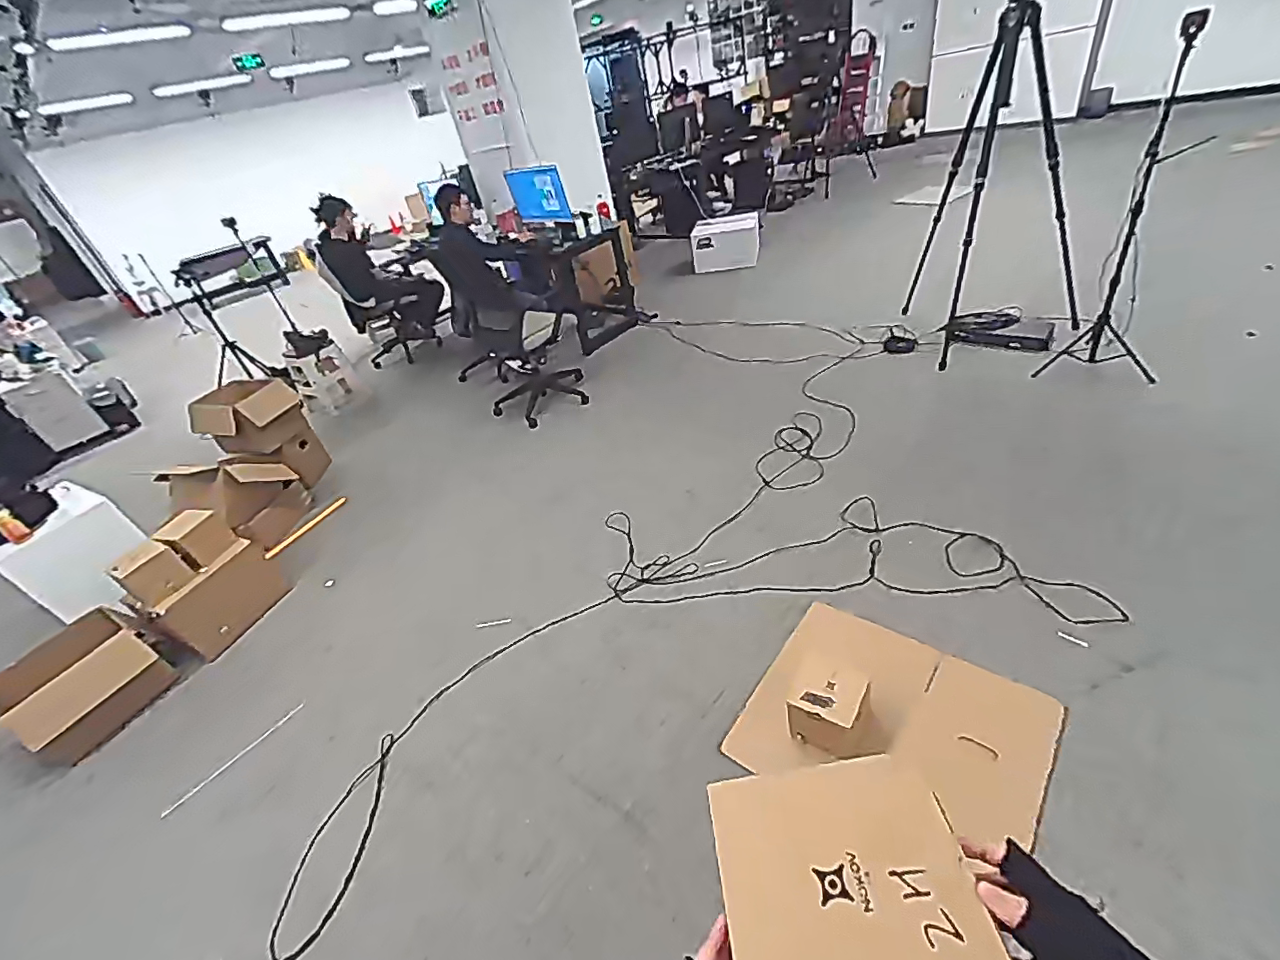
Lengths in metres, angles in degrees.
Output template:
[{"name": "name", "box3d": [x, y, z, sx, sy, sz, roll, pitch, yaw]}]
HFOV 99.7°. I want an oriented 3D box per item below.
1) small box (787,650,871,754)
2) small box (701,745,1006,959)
[{"name": "small box", "box3d": [0.511, 0.601, 1.449, 0.168, 0.176, 0.179, 14, 44, 35]}, {"name": "small box", "box3d": [0.156, 0.343, 0.430, 0.179, 0.176, 0.168, -12, 37, 5]}]
